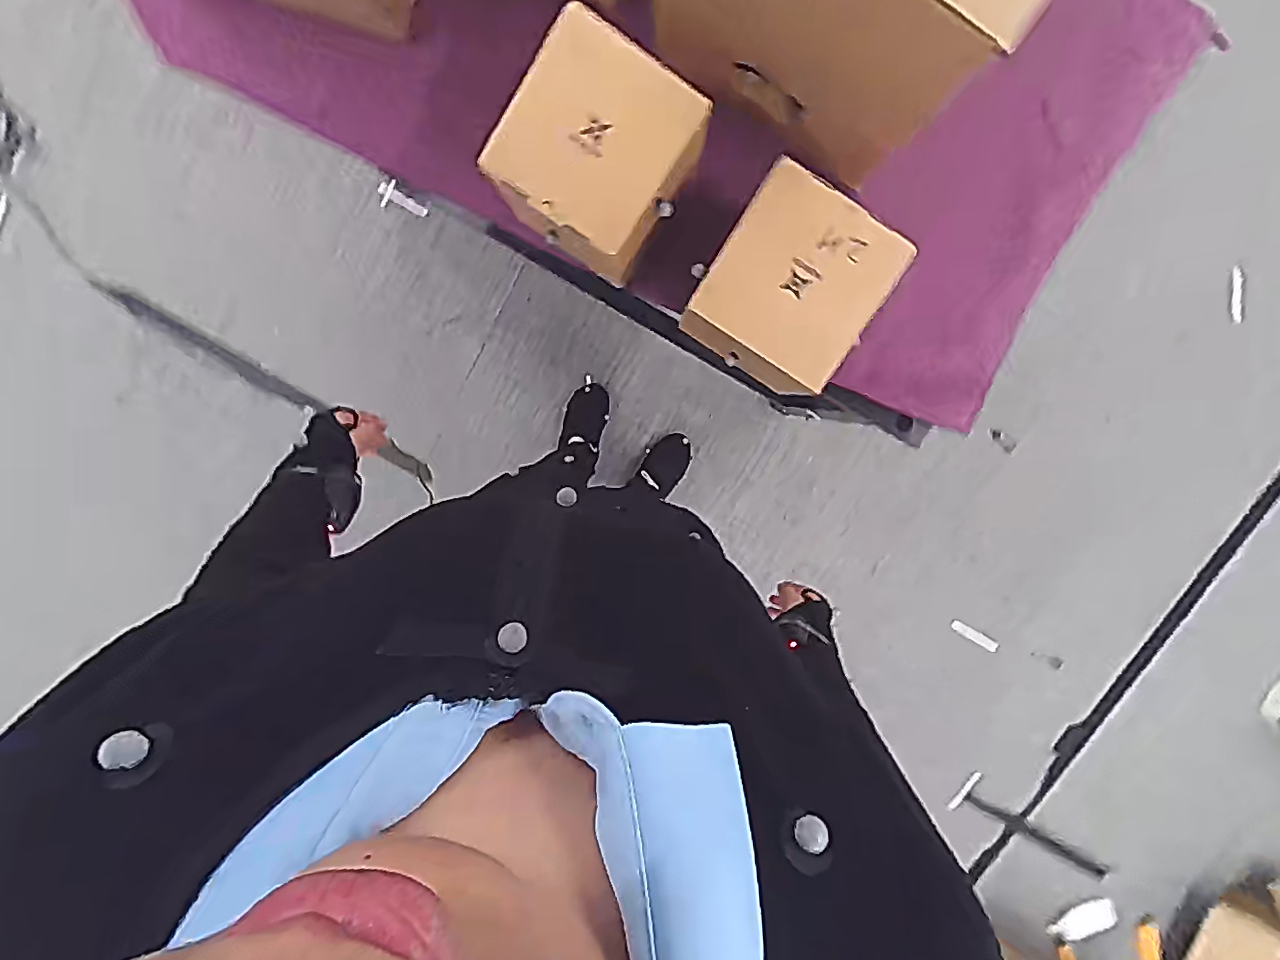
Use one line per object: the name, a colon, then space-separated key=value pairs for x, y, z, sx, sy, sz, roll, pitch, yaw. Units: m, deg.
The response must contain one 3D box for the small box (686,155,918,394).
small box: x=0.165 y=-0.213 z=0.619 sx=0.168 sy=0.176 sz=0.179 roll=33 pitch=97 yaw=-5
